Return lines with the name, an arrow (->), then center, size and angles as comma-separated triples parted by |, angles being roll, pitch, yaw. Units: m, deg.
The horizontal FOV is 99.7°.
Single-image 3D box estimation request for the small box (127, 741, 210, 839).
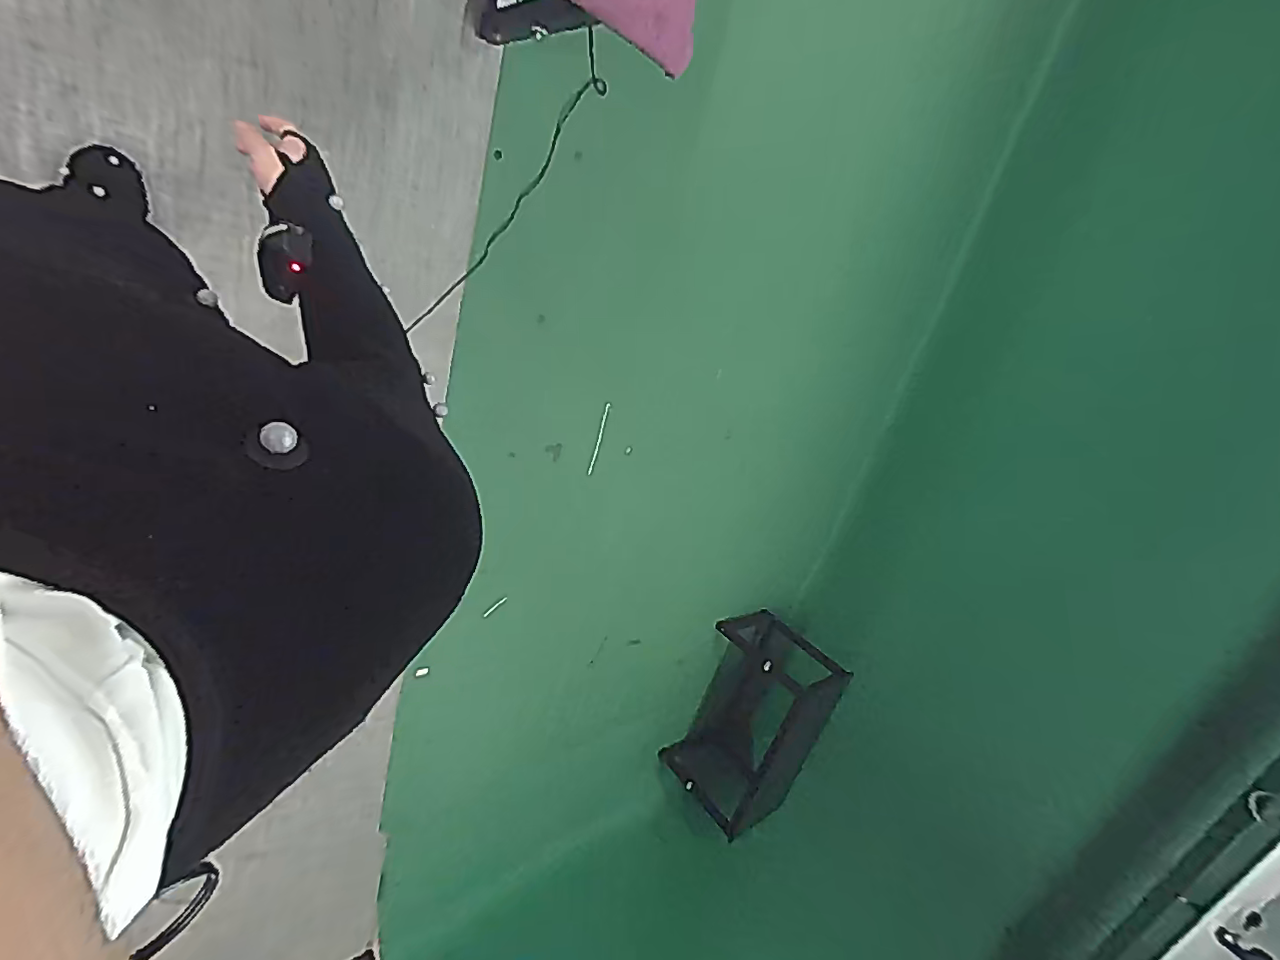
small box -> -1.430, 0.926, 1.638 | 0.179, 0.176, 0.168 | 4, 113, -44
